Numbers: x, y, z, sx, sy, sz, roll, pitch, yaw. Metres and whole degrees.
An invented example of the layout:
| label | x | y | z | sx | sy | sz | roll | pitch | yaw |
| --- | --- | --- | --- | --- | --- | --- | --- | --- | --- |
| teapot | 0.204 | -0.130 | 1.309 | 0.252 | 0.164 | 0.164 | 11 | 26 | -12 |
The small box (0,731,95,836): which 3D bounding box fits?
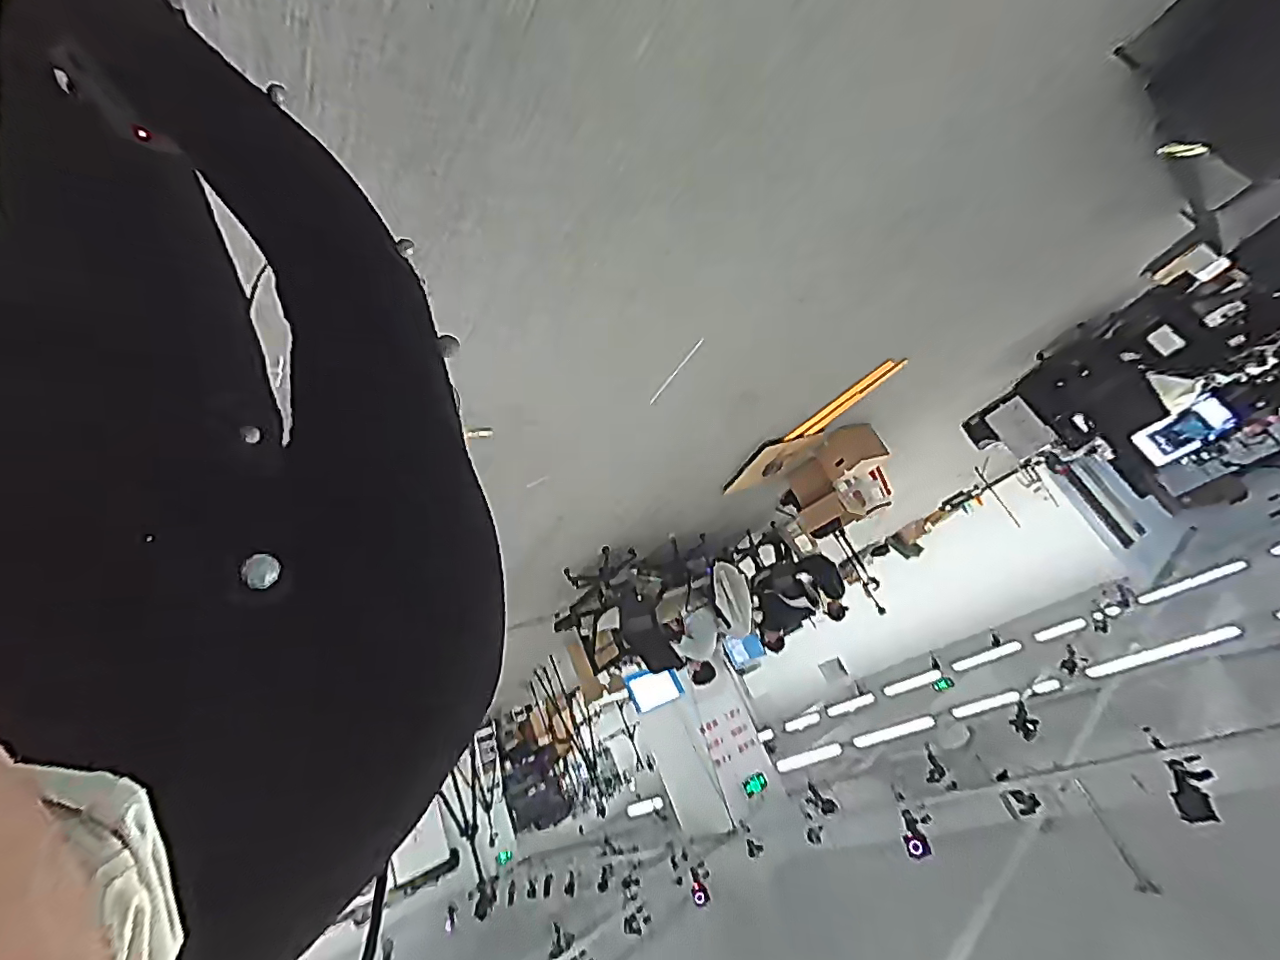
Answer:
| label | x | y | z | sx | sy | sz | roll | pitch | yaw |
| --- | --- | --- | --- | --- | --- | --- | --- | --- | --- |
| small box | -1.488 | 0.749 | 1.347 | 0.168 | 0.176 | 0.179 | 3 | 144 | -49 |
